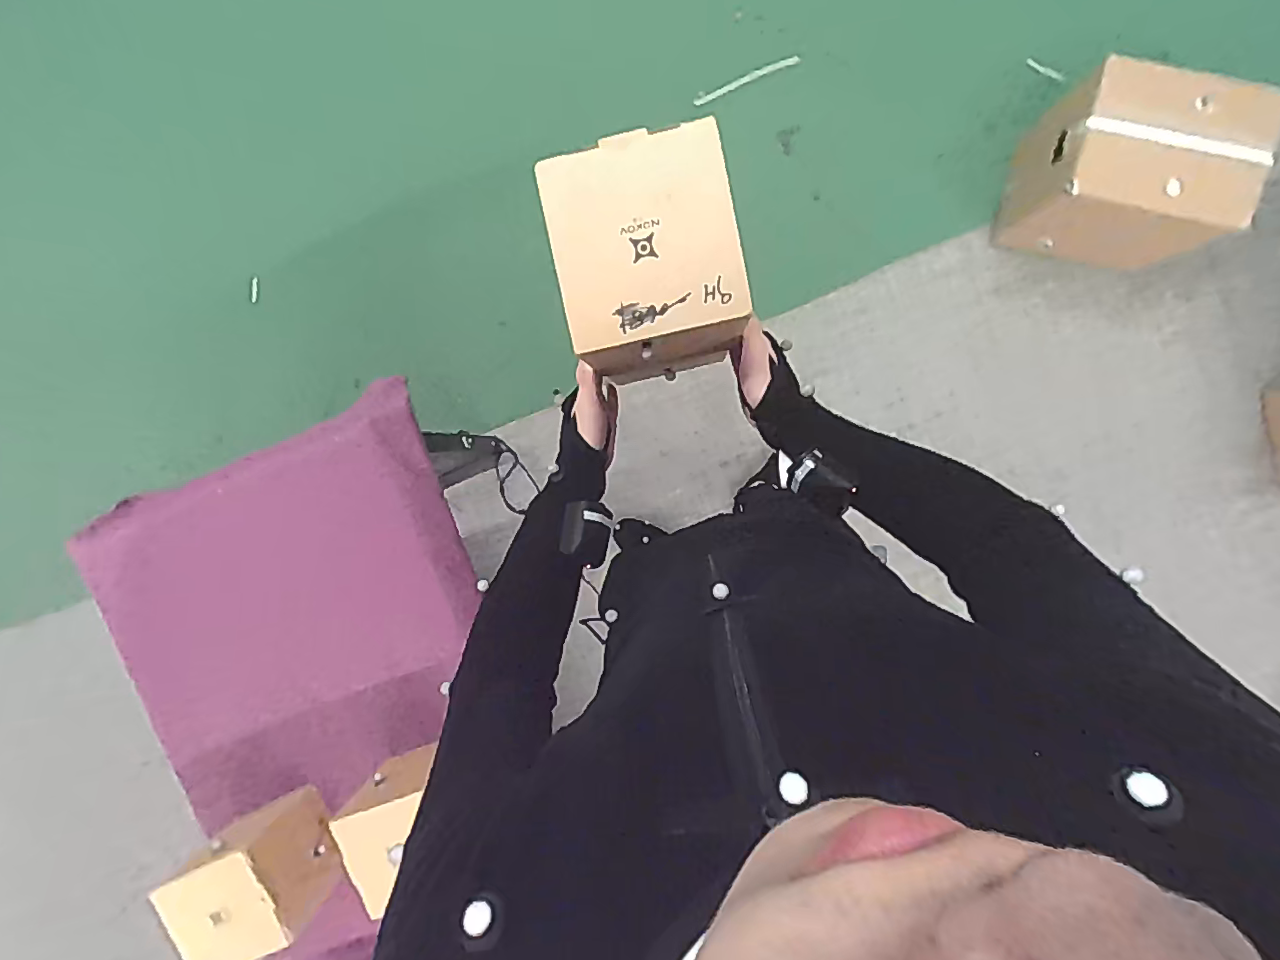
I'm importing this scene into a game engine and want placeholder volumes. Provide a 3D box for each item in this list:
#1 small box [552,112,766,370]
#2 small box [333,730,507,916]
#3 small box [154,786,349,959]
[{"bbox_3d":[0.021,-0.223,0.554,0.168,0.176,0.179,-11,93,5],"label":"small box"},{"bbox_3d":[-0.344,0.544,0.879,0.179,0.176,0.168,-22,93,5],"label":"small box"},{"bbox_3d":[-0.632,0.661,0.906,0.179,0.176,0.168,-27,91,4],"label":"small box"}]
